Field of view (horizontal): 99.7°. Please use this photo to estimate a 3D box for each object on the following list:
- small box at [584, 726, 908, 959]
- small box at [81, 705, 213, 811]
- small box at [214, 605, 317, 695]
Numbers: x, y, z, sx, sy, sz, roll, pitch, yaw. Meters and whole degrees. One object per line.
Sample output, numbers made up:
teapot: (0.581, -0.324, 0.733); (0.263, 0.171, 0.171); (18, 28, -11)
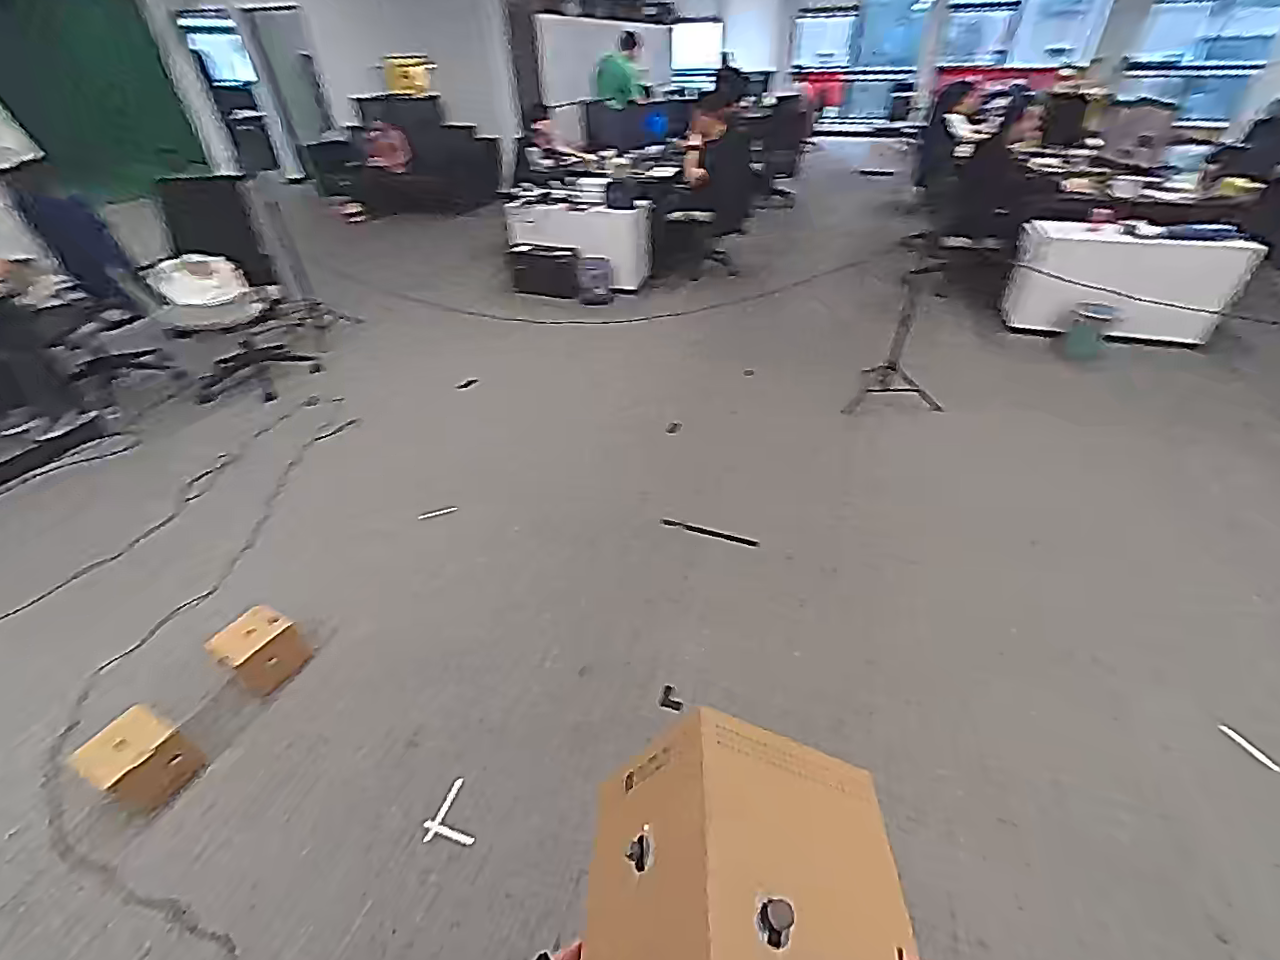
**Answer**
small box: (0.066, 0.315, 0.410); (0.179, 0.168, 0.176); (27, 34, -16)
small box: (-1.296, 0.741, 1.435); (0.179, 0.176, 0.168); (16, 41, 22)
small box: (-1.160, 0.534, 1.688); (0.168, 0.176, 0.179); (18, 43, 23)
